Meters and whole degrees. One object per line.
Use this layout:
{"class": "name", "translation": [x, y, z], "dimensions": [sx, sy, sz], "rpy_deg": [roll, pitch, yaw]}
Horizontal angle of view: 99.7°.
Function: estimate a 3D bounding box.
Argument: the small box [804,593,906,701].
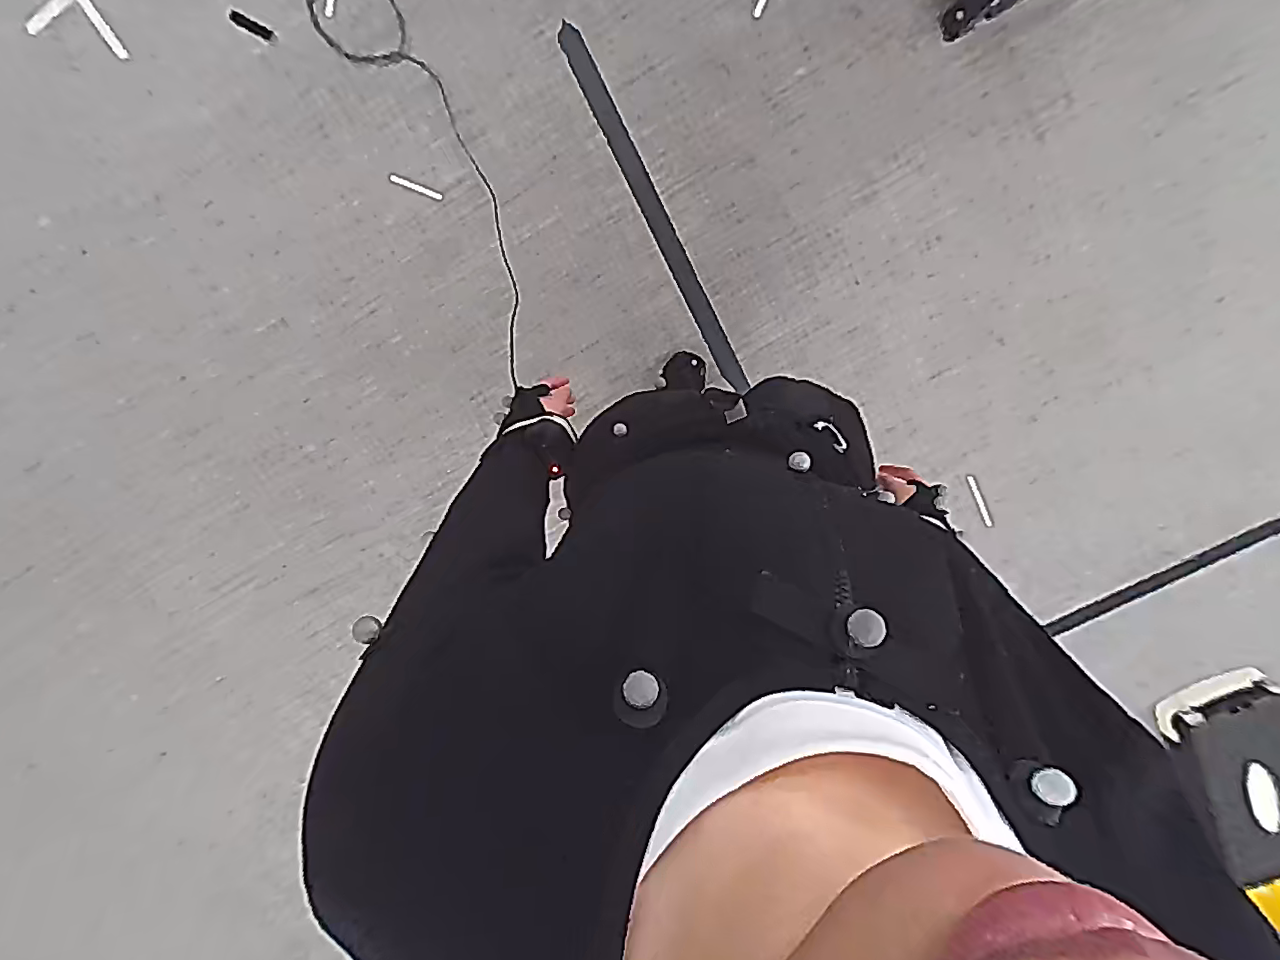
{"class": "small box", "translation": [0.547, 0.425, 1.395], "dimensions": [0.168, 0.176, 0.179], "rpy_deg": [-26, 102, 7]}
